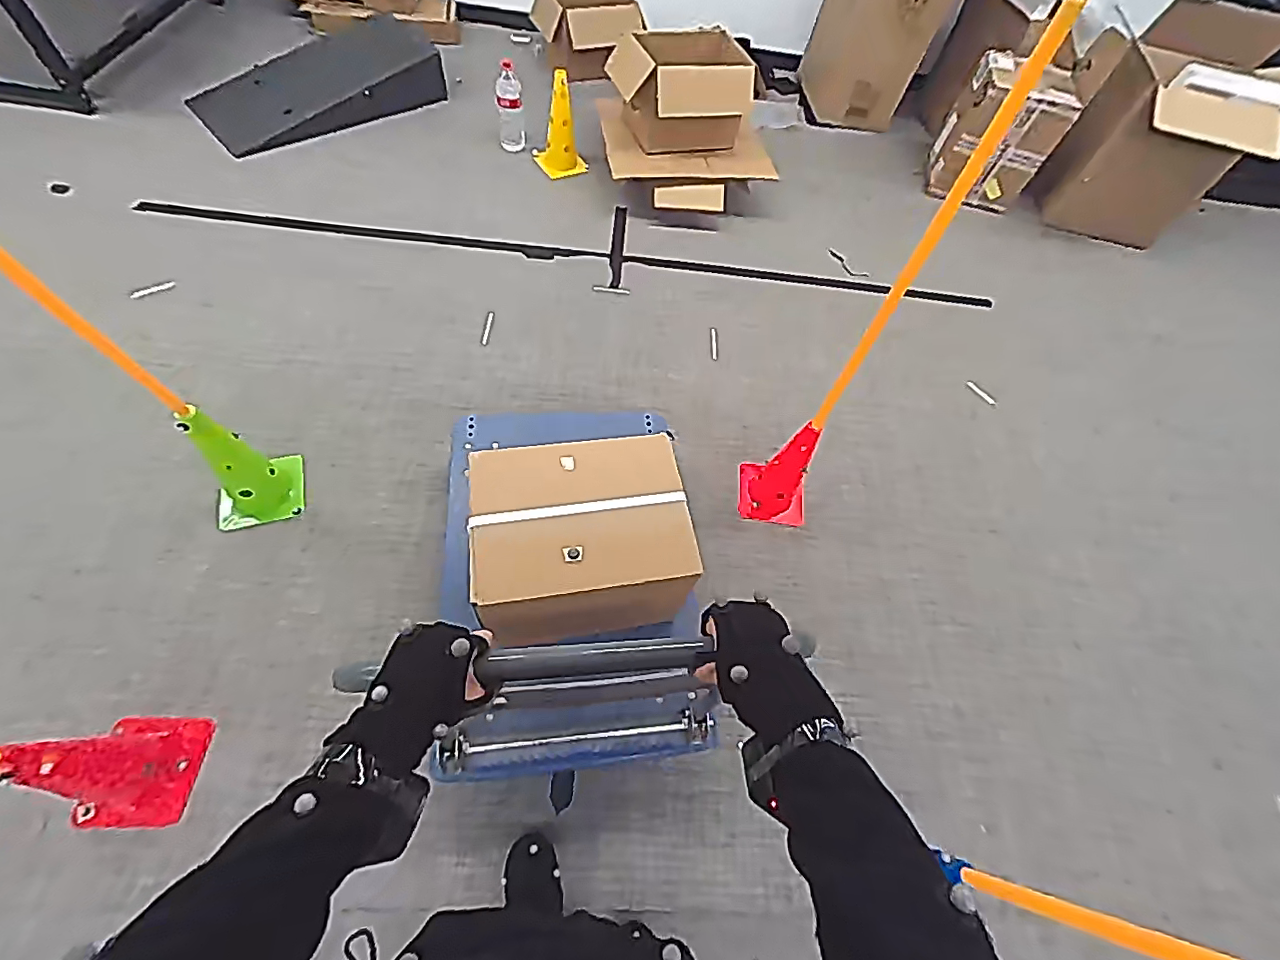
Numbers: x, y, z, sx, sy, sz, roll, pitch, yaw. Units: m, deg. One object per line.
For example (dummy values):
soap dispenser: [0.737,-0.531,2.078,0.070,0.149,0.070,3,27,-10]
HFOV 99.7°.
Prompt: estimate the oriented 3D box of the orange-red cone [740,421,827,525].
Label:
orange-red cone: [0.430,-0.049,1.502,0.199,0.360,0.198,11,59,-3]
